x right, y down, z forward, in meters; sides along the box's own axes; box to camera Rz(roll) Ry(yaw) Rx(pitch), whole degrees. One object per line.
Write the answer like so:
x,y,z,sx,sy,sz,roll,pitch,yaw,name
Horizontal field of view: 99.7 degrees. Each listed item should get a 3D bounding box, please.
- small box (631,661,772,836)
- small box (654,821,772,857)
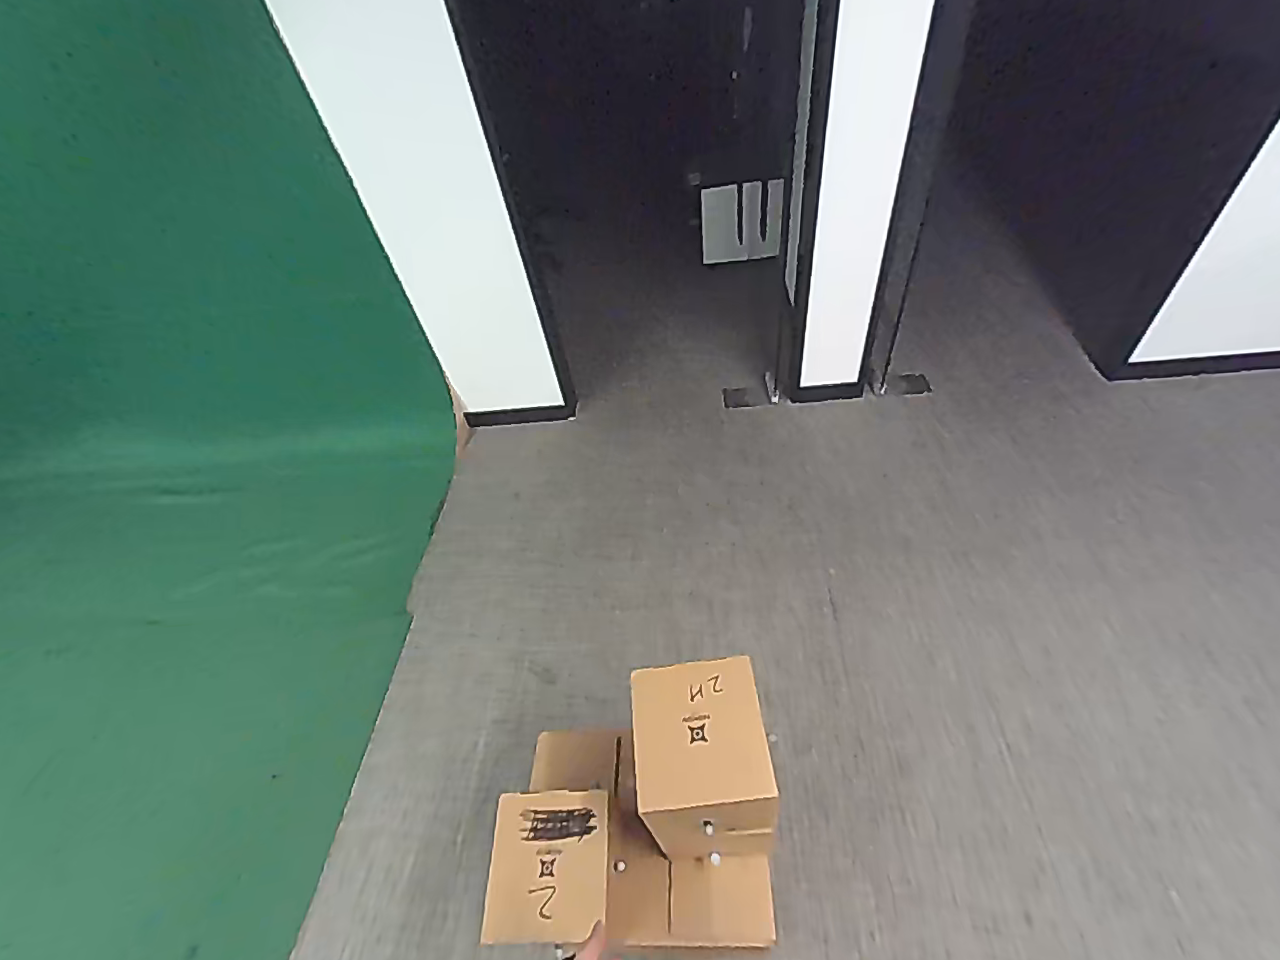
0.084,0.375,0.745,0.168,0.176,0.179,-8,46,4,small box
0.112,0.484,0.865,0.168,0.176,0.179,-7,48,6,small box
